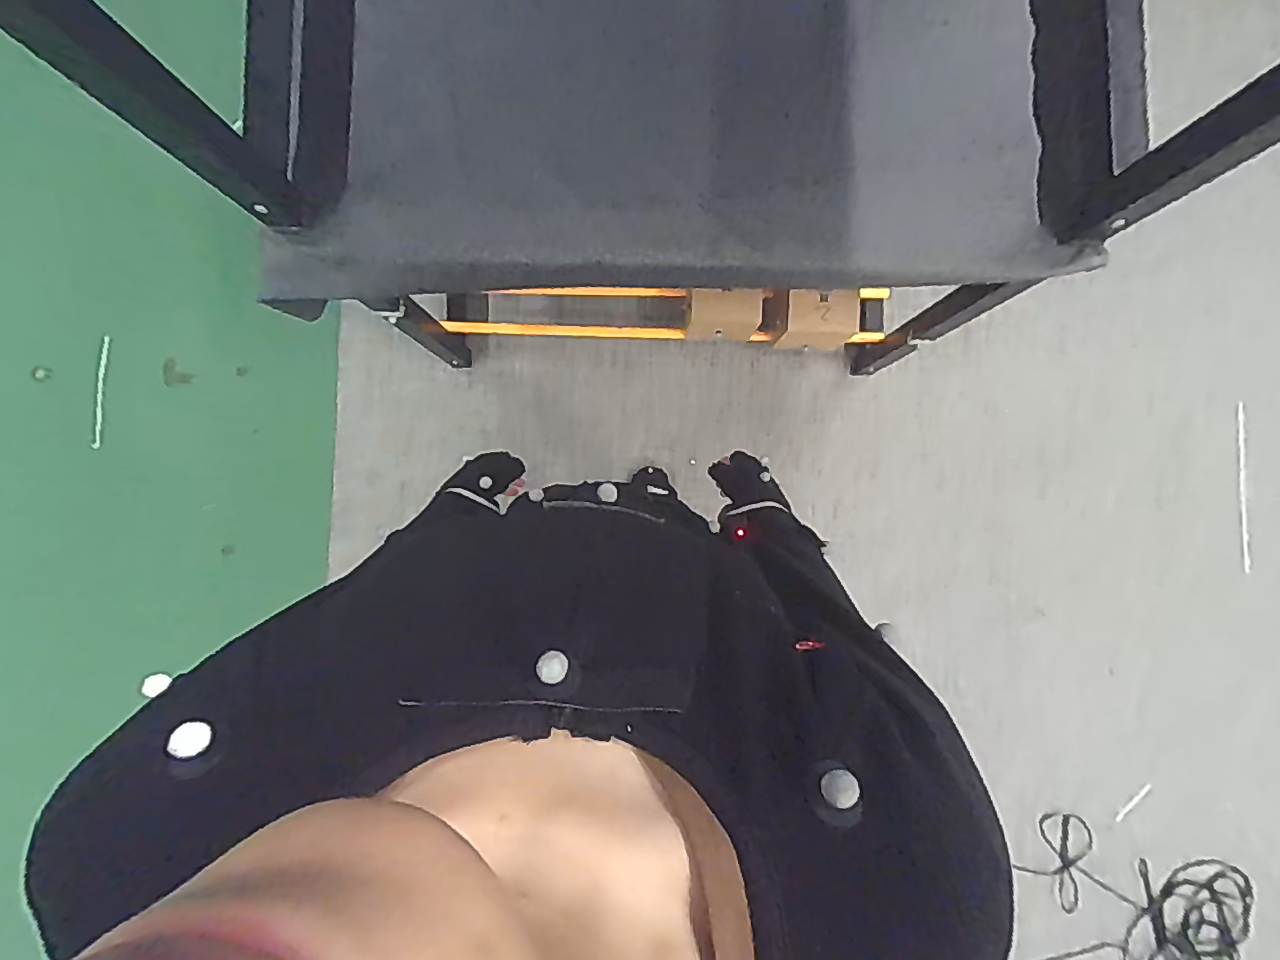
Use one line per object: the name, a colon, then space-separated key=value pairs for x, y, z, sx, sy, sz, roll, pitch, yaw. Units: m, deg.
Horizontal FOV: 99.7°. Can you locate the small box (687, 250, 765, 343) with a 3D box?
small box: x=0.206 y=-0.441 z=1.323 sx=0.168 sy=0.176 sz=0.179 roll=1 pitch=88 yaw=1
